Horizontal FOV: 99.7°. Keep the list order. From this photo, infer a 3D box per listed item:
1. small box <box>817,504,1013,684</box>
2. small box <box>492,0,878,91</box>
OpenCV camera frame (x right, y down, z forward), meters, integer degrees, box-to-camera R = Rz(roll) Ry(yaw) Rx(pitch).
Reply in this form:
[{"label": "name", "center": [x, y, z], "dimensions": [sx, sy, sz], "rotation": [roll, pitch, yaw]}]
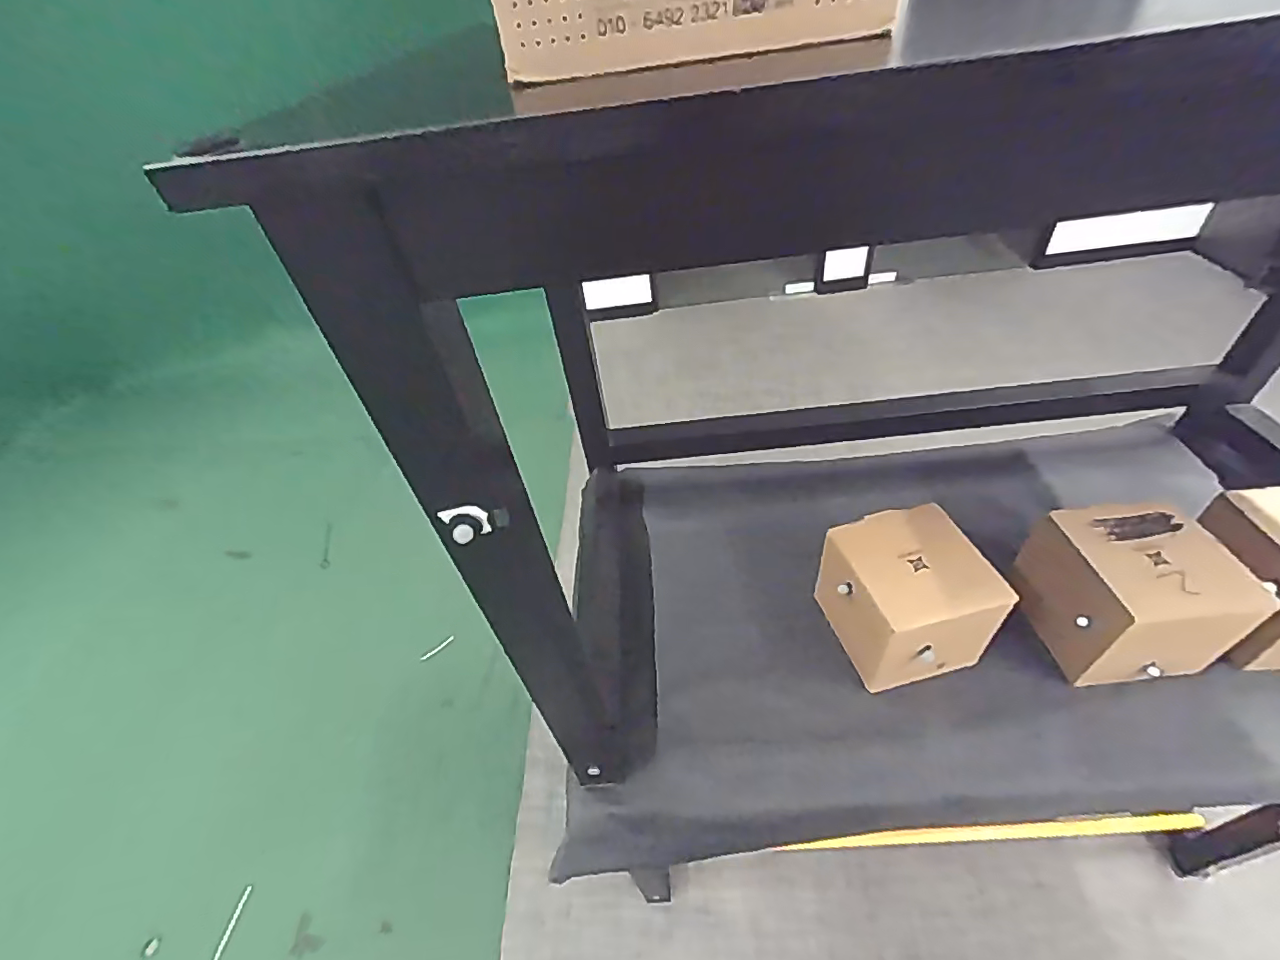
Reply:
[{"label": "small box", "center": [0.369, 0.166, 0.765], "dimensions": [0.168, 0.176, 0.179], "rotation": [-13, 43, -4]}, {"label": "small box", "center": [0.011, -0.291, 0.240], "dimensions": [0.168, 0.176, 0.179], "rotation": [-5, 44, 4]}]
